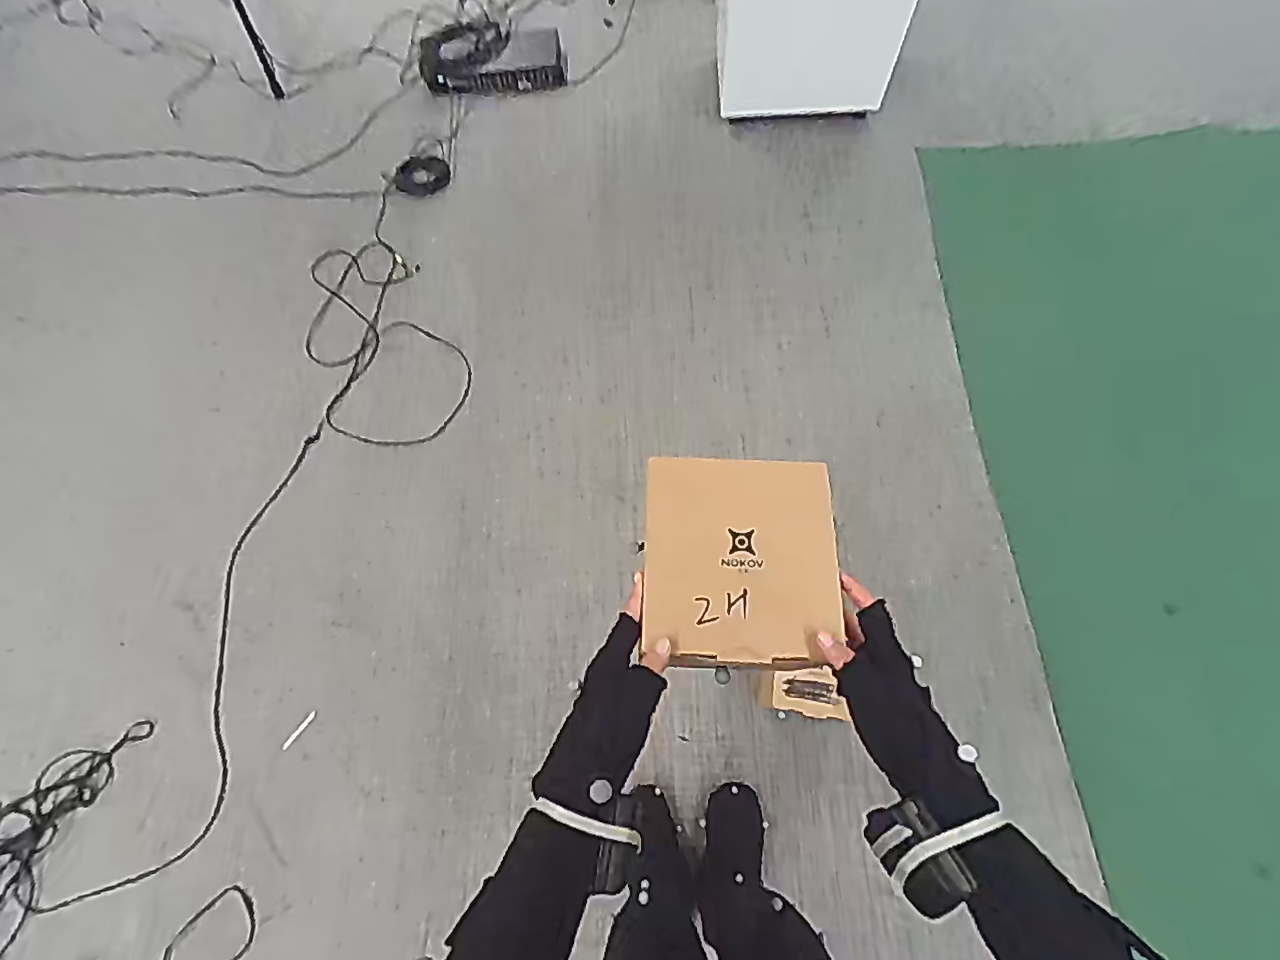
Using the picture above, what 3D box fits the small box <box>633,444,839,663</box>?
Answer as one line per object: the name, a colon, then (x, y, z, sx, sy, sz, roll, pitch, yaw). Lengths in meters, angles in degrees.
small box: (0.080, 0.080, 0.532, 0.168, 0.176, 0.179, 2, 69, 1)
